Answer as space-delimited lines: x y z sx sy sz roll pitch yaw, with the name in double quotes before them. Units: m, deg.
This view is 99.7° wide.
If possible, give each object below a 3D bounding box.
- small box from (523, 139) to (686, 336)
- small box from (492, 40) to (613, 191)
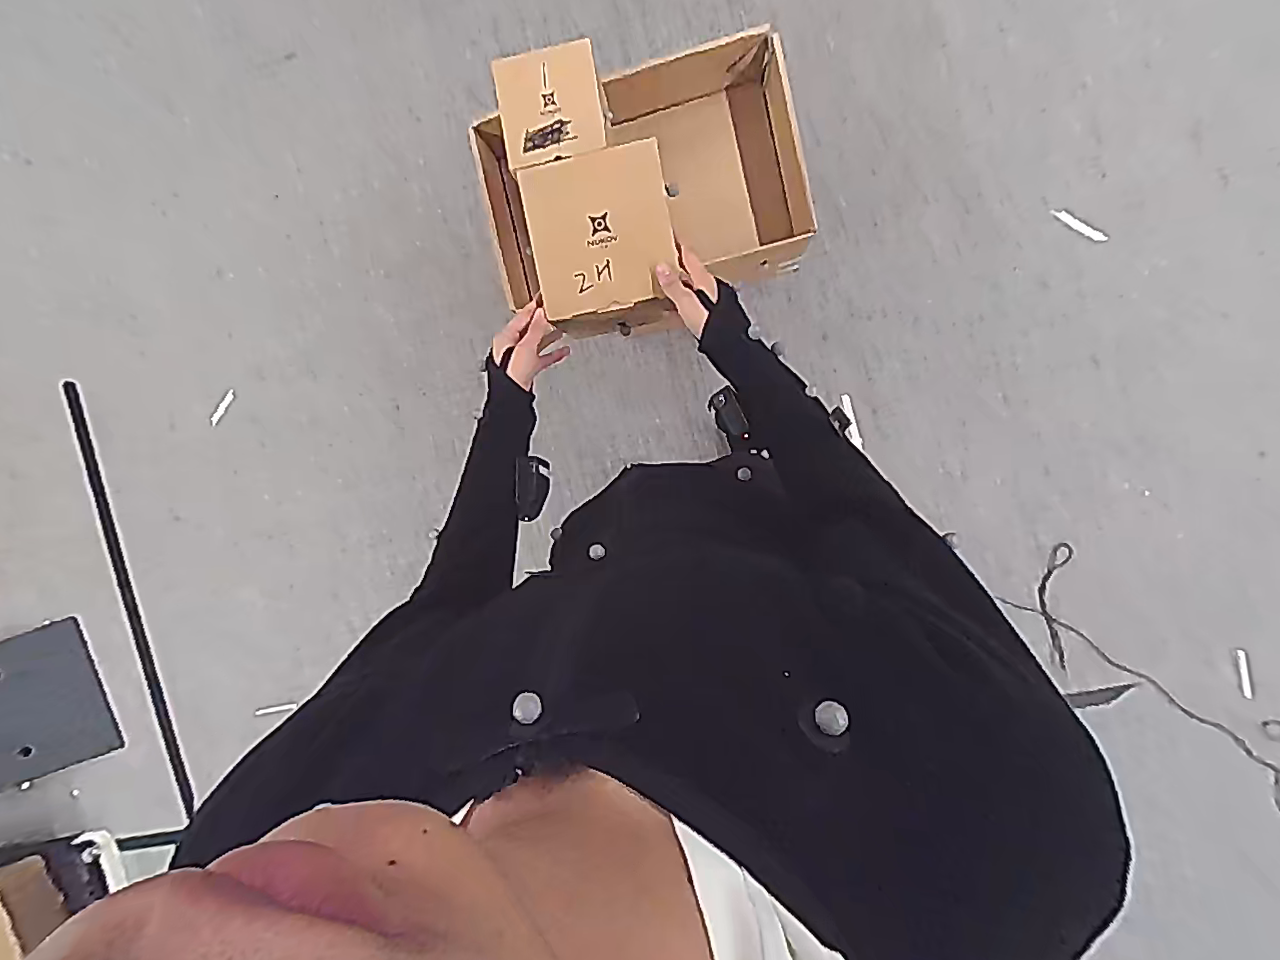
"small box" -0.037 -0.298 0.703 0.168 0.176 0.179 -10 97 6
"small box" -0.138 -0.604 0.945 0.168 0.176 0.179 -9 93 6
